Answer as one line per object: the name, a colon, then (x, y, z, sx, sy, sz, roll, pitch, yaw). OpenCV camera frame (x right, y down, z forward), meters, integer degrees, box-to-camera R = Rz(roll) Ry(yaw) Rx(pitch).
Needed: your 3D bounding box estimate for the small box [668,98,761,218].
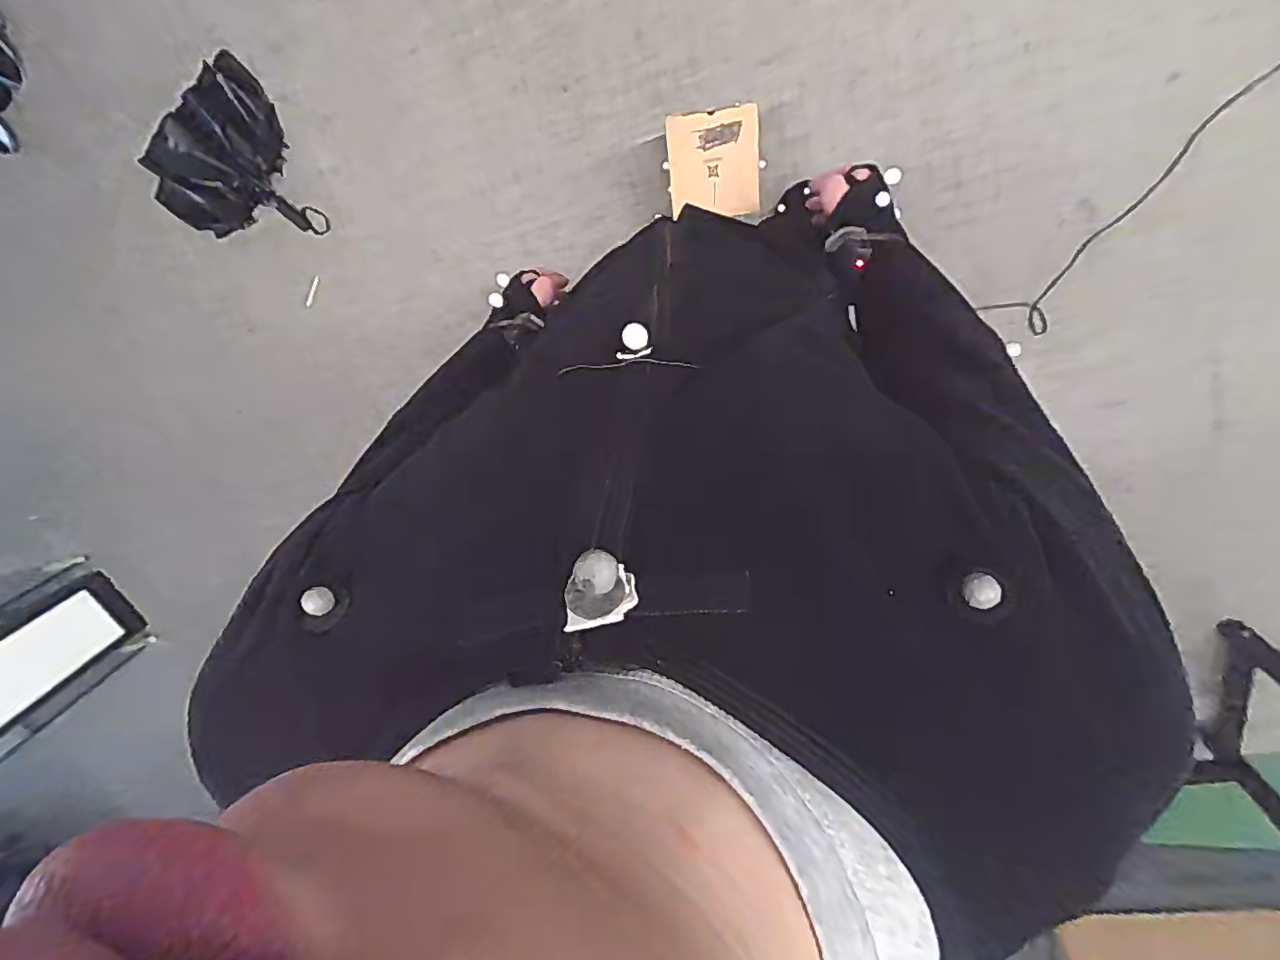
small box: (0.147, -0.621, 1.056, 0.168, 0.176, 0.179, -2, 120, 10)
